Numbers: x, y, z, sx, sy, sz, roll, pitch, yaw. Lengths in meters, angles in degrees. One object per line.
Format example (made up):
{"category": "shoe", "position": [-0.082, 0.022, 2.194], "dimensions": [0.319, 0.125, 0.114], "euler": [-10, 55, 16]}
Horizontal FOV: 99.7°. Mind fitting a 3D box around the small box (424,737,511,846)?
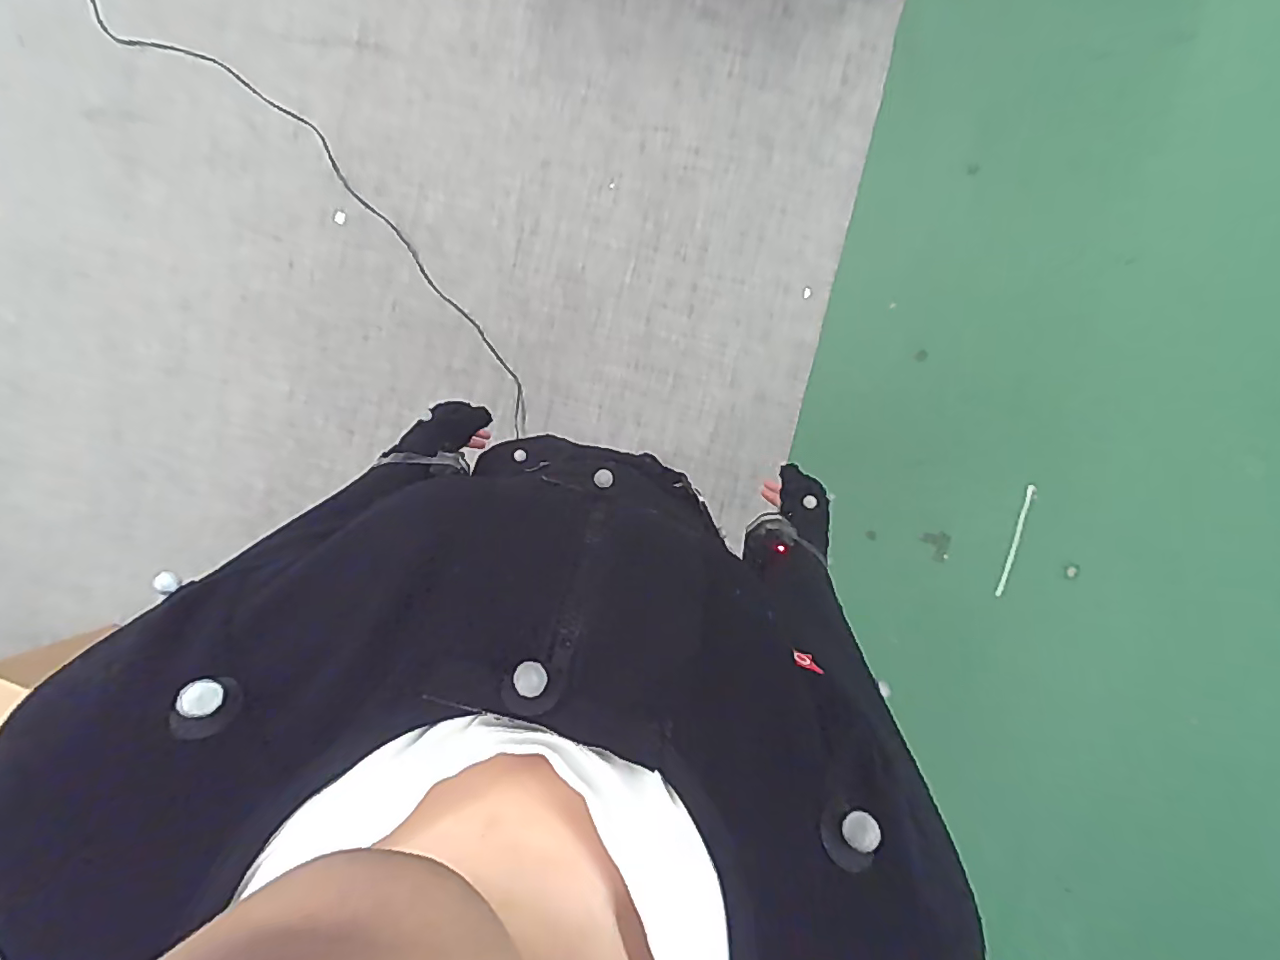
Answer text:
{"category": "small box", "position": [-0.446, 0.788, 1.383], "dimensions": [0.179, 0.176, 0.168], "euler": [14, 93, 1]}
